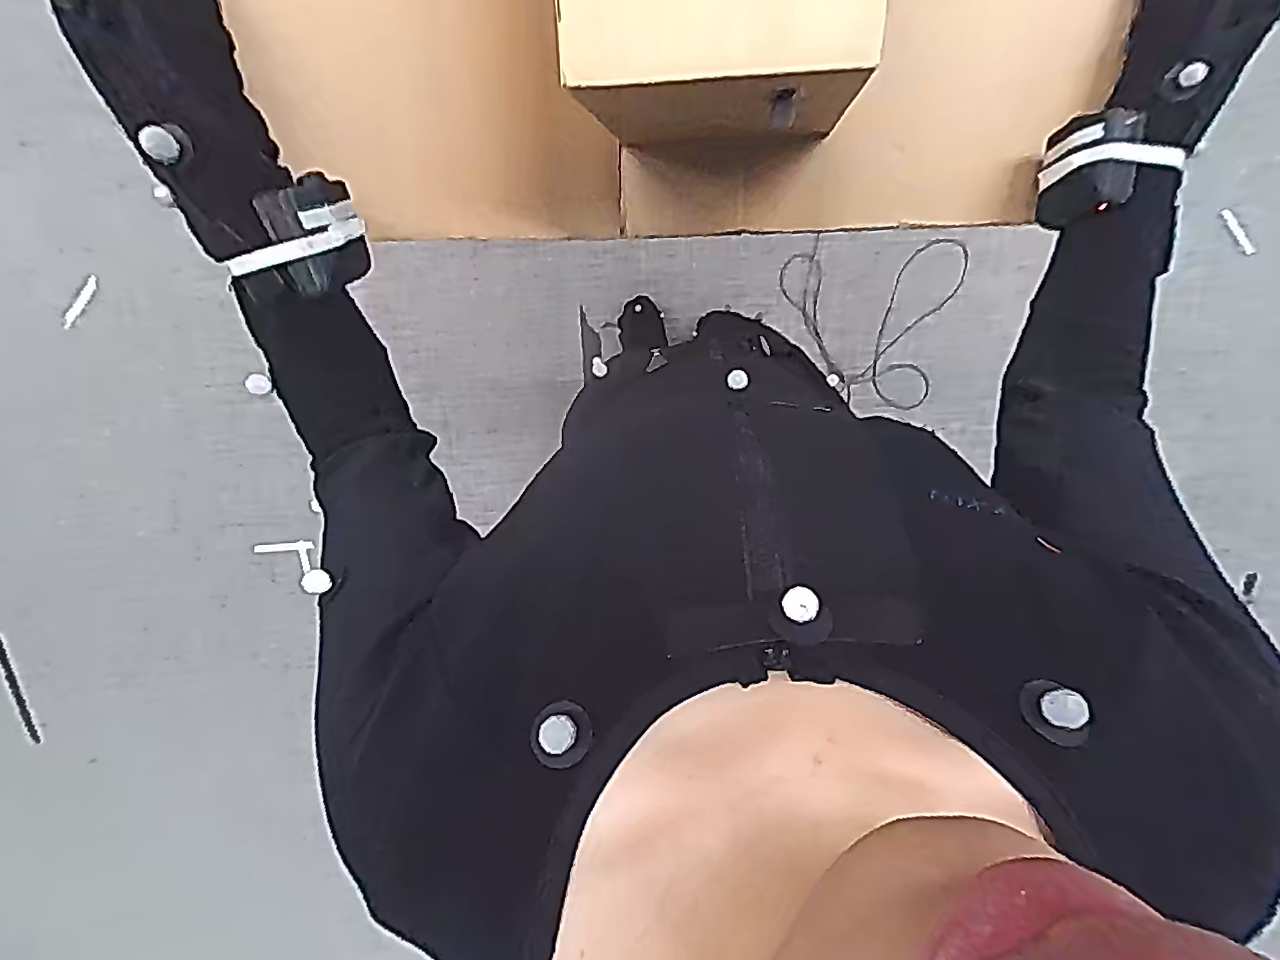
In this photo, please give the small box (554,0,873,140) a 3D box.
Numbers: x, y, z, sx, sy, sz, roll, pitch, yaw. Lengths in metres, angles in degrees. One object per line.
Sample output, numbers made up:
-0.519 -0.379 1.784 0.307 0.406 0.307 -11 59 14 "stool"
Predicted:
0.049 -0.331 0.349 0.179 0.176 0.168 4 112 9 "small box"
